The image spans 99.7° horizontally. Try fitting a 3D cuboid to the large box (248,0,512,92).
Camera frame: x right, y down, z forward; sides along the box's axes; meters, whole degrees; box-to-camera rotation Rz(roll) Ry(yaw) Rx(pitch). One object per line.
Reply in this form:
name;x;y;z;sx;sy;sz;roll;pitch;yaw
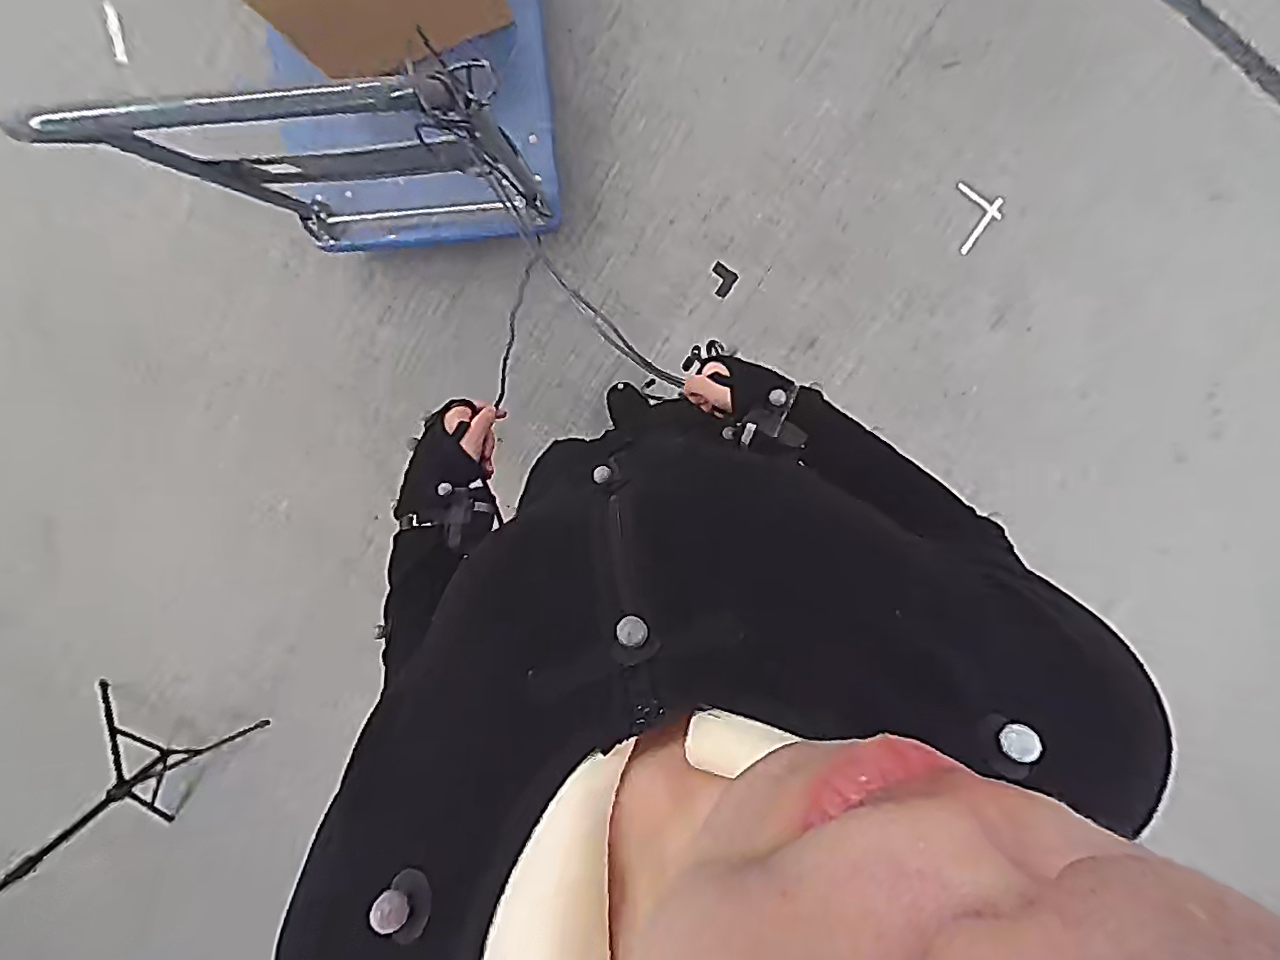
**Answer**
large box;-0.497;-0.998;0.970;0.408;0.320;0.320;-19;102;3
